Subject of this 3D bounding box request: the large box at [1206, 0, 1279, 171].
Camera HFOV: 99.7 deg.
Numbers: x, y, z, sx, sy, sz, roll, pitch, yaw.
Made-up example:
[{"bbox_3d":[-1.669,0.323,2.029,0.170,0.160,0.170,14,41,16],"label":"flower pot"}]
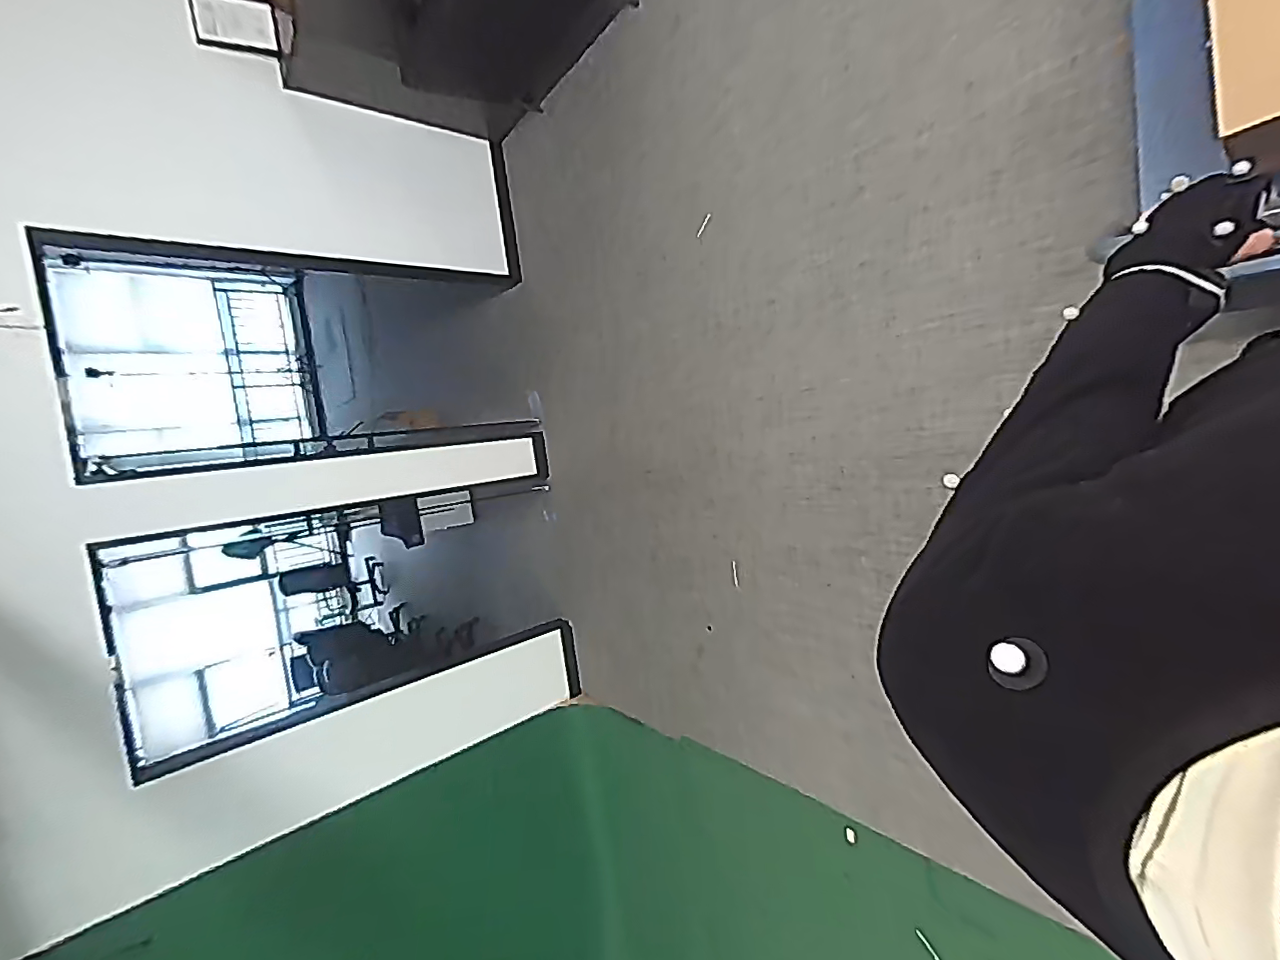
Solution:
[{"bbox_3d":[1.027,-0.728,0.746,0.320,0.320,0.408,-4,95,52],"label":"large box"}]
